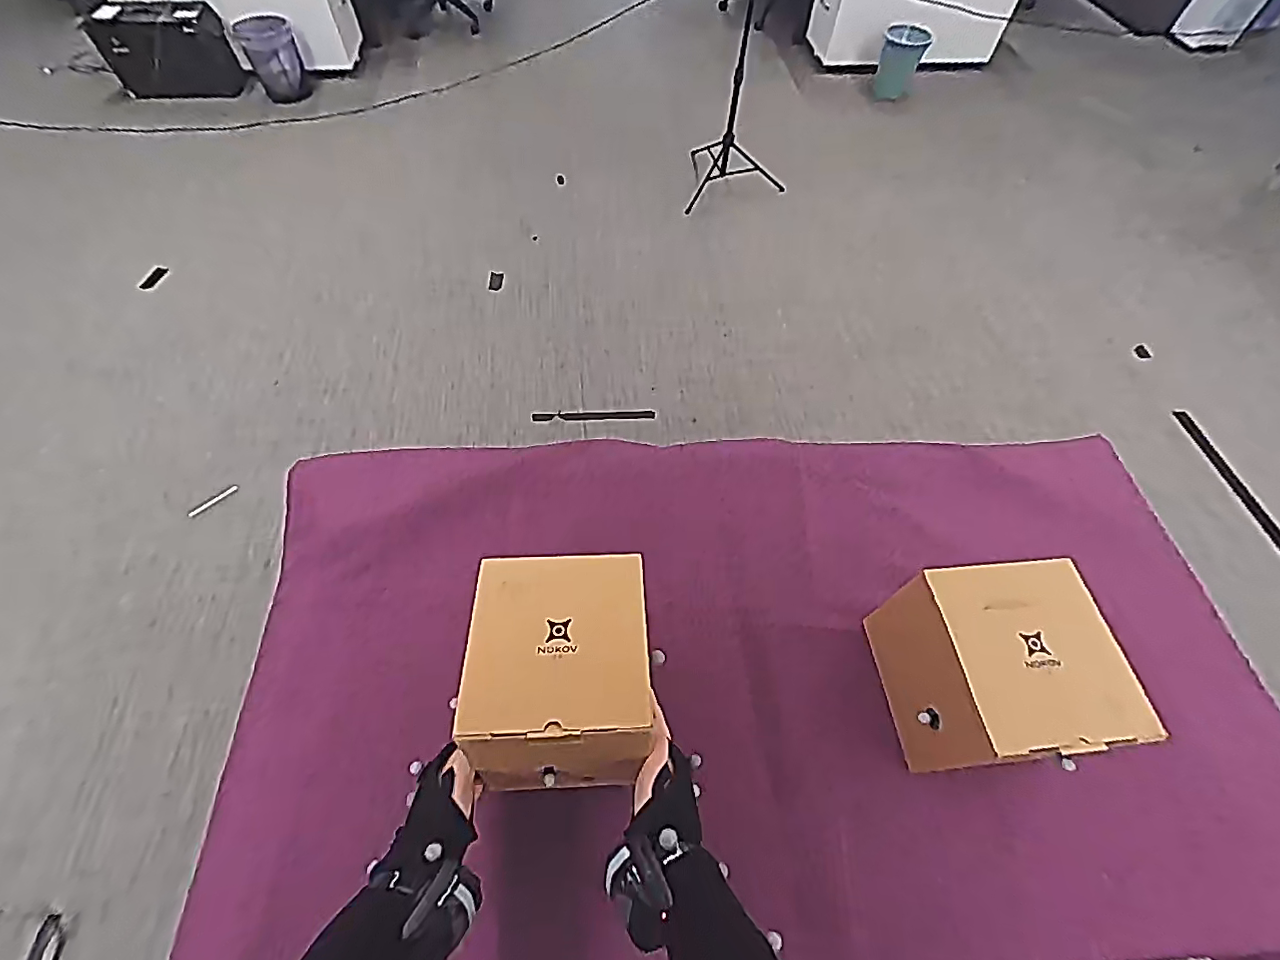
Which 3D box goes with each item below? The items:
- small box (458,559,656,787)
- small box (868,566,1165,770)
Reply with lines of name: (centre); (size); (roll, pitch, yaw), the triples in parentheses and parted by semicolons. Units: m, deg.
small box: (-0.075, 0.200, 0.560); (0.168, 0.176, 0.179); (-1, 50, -3)
small box: (0.376, 0.209, 0.583); (0.168, 0.176, 0.179); (-3, 58, -4)
